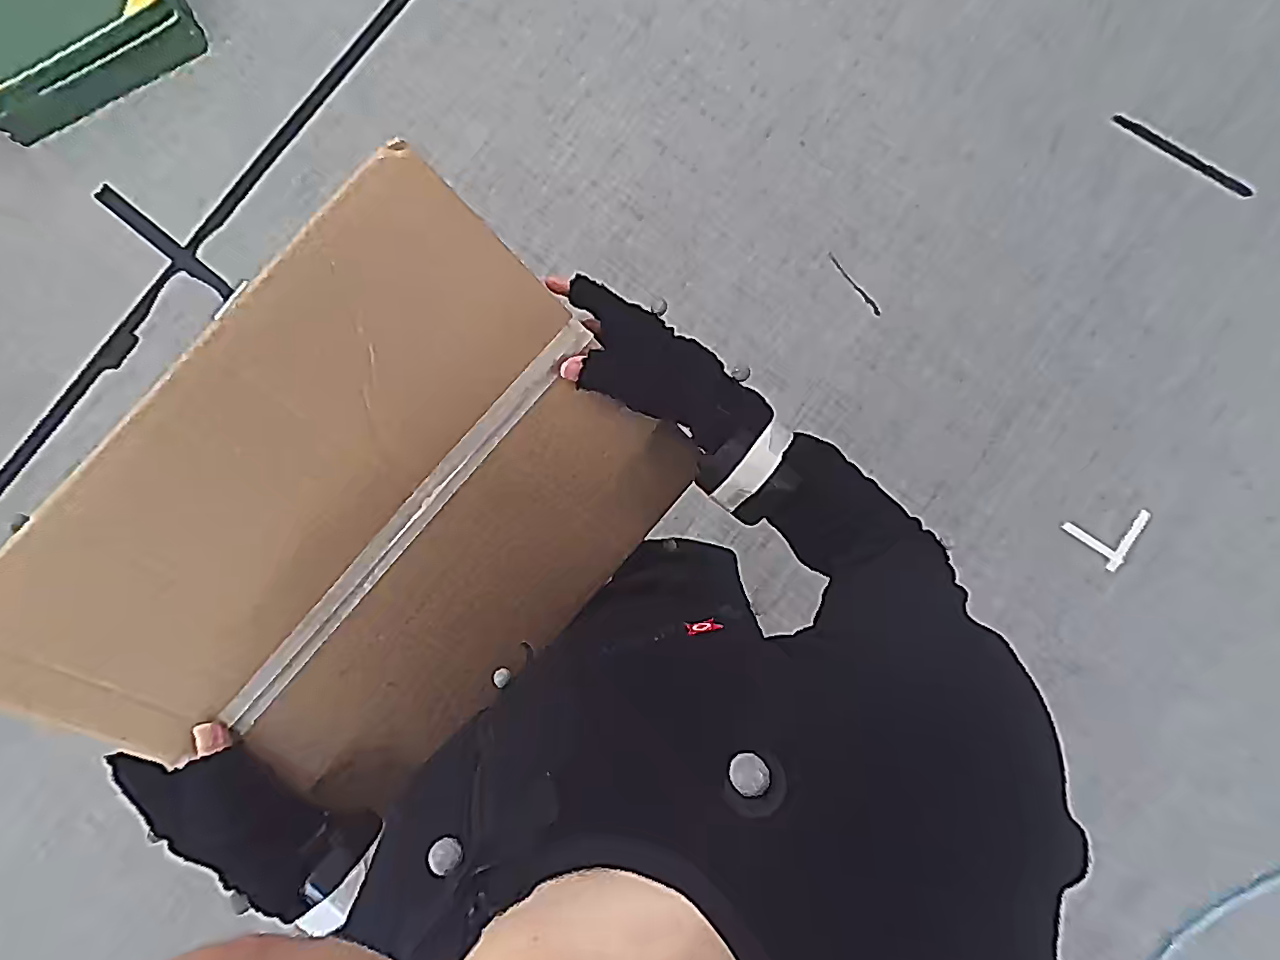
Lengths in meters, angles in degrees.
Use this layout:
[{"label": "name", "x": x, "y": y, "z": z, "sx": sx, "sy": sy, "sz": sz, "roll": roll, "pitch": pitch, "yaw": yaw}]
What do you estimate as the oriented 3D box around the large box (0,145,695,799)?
[{"label": "large box", "x": -0.233, "y": -0.008, "z": 0.523, "sx": 0.408, "sy": 0.320, "sz": 0.320, "roll": -49, "pitch": 119, "yaw": -2}]
